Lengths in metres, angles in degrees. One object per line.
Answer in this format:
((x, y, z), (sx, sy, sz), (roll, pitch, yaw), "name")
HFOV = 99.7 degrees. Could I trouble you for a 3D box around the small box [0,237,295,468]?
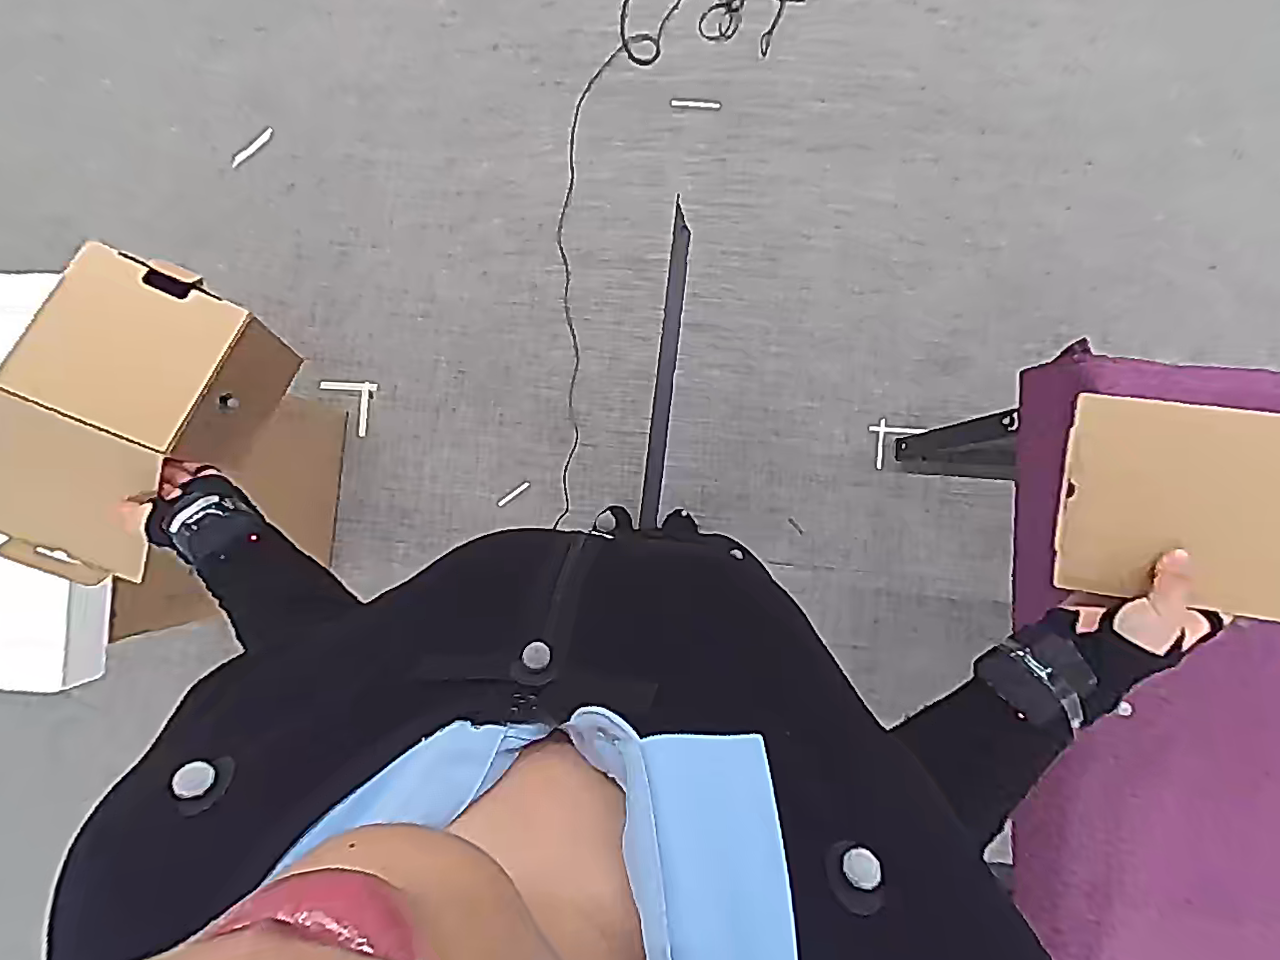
((-0.538, -0.127, 0.620), (0.168, 0.176, 0.179), (25, 78, -11), "small box")
